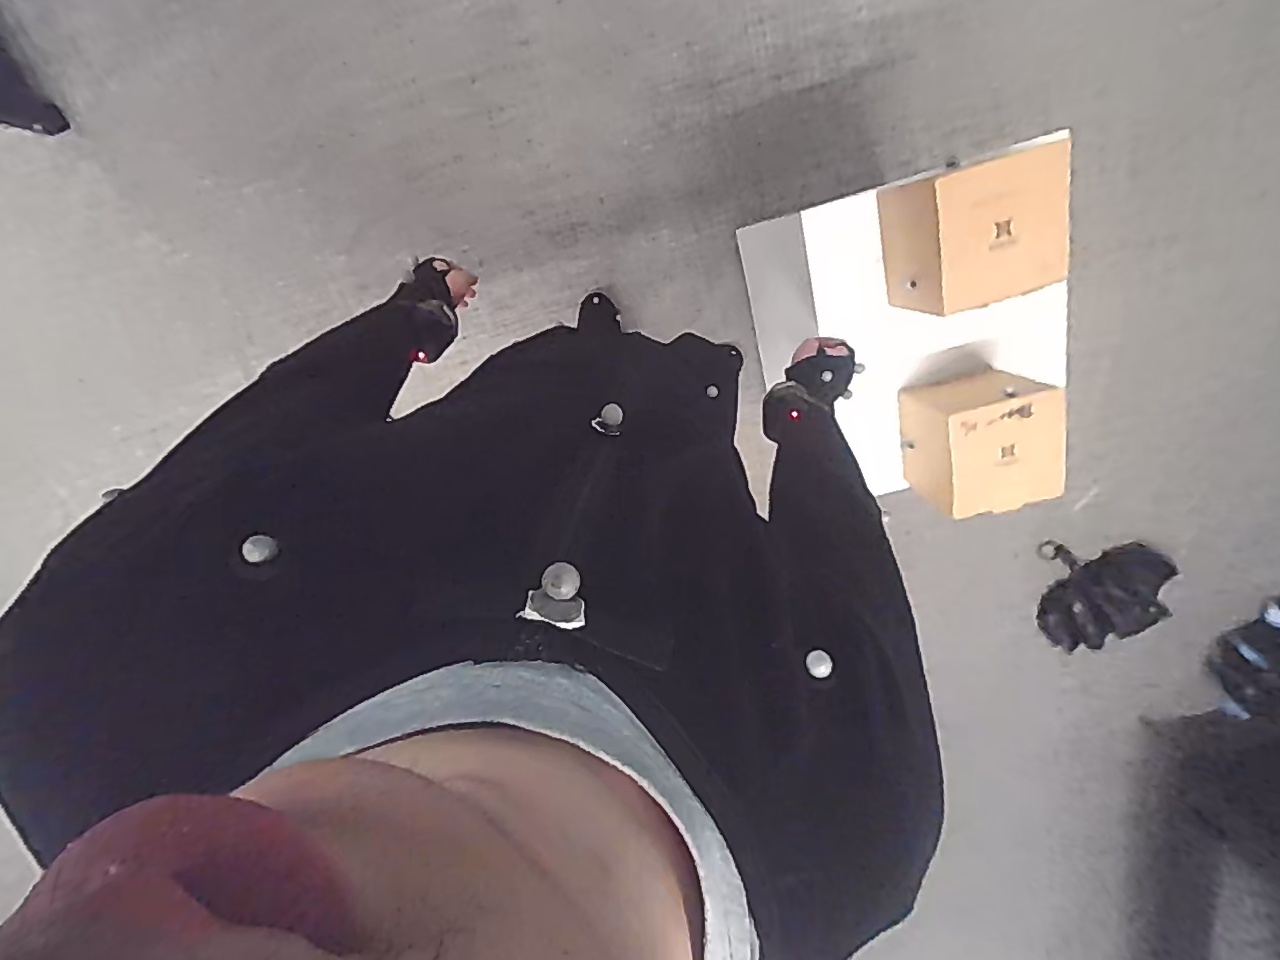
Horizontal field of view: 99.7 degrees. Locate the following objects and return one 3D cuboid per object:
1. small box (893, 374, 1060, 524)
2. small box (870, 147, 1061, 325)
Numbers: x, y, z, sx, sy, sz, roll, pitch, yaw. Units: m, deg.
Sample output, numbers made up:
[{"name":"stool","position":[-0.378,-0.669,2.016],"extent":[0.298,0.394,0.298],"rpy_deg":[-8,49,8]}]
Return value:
[{"name":"small box","position":[0.535,-0.056,0.878],"extent":[0.168,0.176,0.179],"rpy_deg":[-15,111,2]},{"name":"small box","position":[0.451,-0.337,0.766],"extent":[0.168,0.176,0.179],"rpy_deg":[-18,111,1]}]
